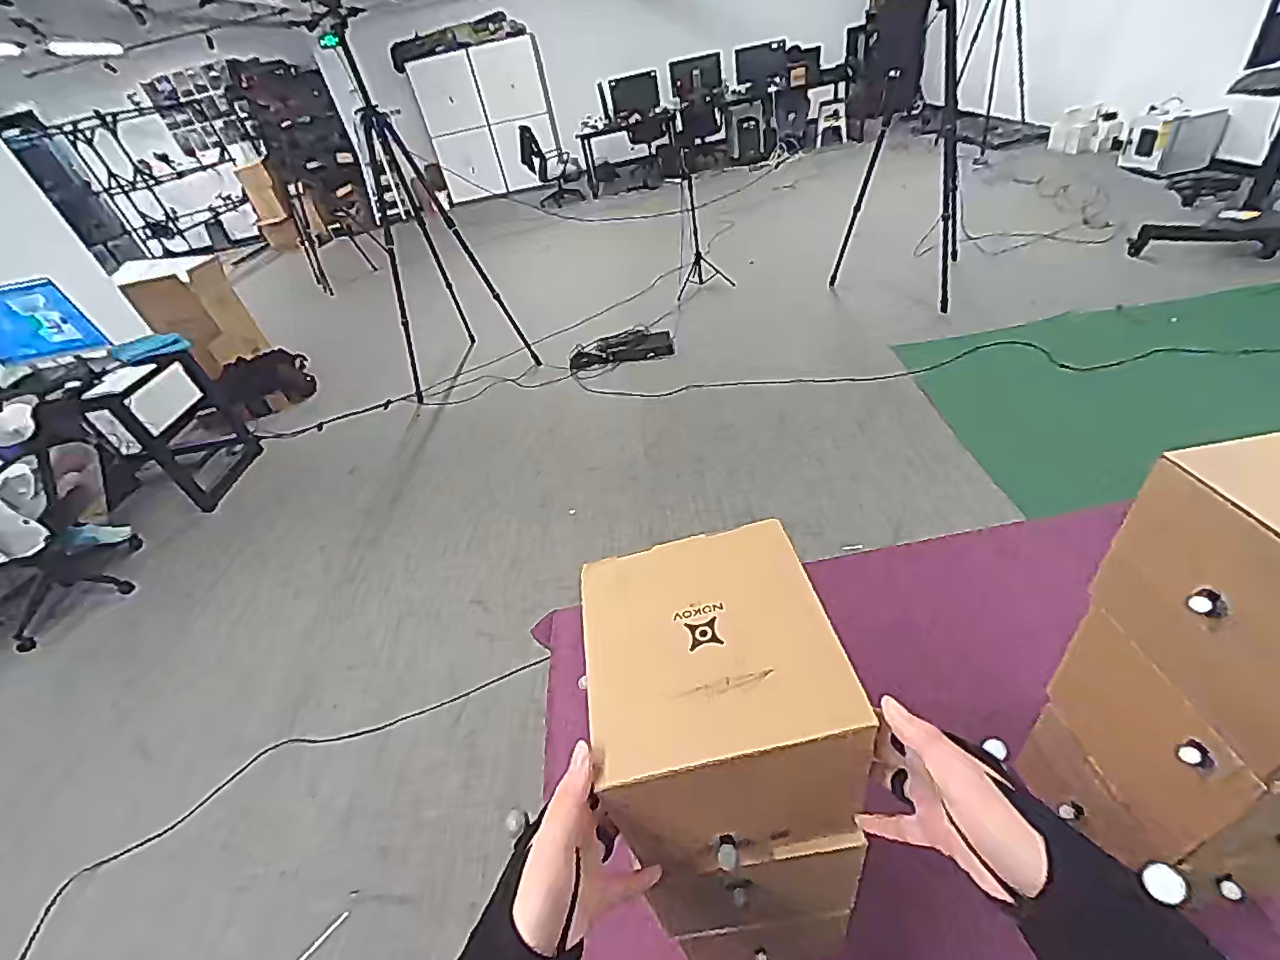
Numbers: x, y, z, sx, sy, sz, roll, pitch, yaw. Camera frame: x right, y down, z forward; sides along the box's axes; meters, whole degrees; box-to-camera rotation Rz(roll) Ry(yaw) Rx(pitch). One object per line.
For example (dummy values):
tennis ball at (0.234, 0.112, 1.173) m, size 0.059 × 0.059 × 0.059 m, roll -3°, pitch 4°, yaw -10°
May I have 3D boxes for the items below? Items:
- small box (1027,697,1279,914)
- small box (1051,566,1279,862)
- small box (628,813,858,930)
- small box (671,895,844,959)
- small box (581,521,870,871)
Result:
small box at (0.558, 0.336, 0.581) m, size 0.179 × 0.176 × 0.168 m, roll -13°, pitch 38°, yaw 3°
small box at (0.523, 0.207, 0.487) m, size 0.168 × 0.176 × 0.179 m, roll -11°, pitch 39°, yaw 3°
small box at (0.087, 0.293, 0.511) m, size 0.179 × 0.176 × 0.168 m, roll -11°, pitch 38°, yaw 2°
small box at (0.119, 0.419, 0.612) m, size 0.168 × 0.176 × 0.179 m, roll -11°, pitch 38°, yaw 3°
small box at (0.055, 0.163, 0.418) m, size 0.168 × 0.176 × 0.179 m, roll -14°, pitch 39°, yaw 2°
